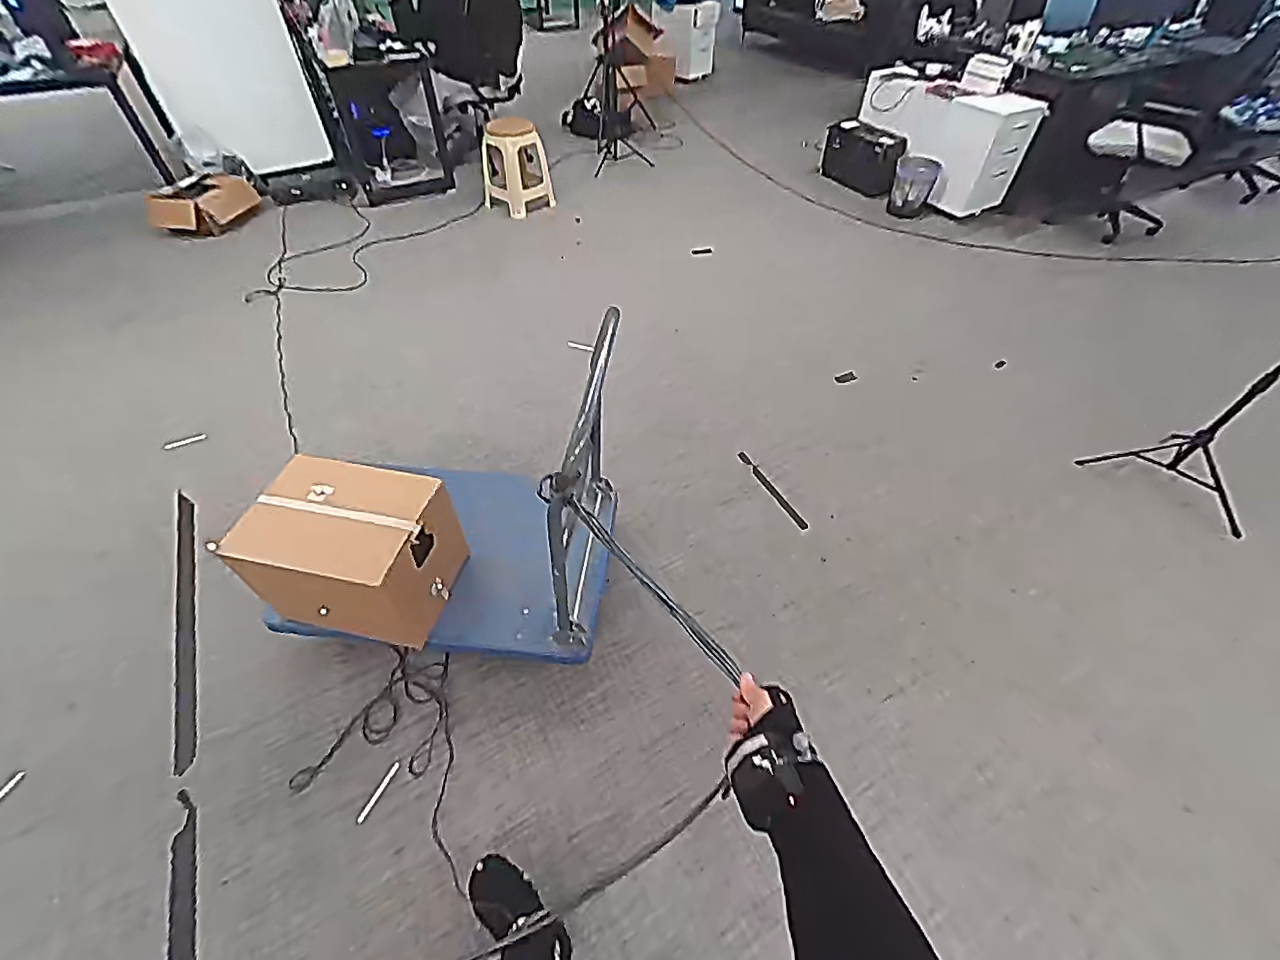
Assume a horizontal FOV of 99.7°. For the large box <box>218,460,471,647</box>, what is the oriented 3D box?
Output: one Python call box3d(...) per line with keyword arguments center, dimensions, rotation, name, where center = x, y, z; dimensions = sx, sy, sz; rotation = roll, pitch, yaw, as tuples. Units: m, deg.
box3d(center=(-0.700, 0.187, 1.365), dimensions=(0.408, 0.320, 0.320), rotation=(9, 48, 8), name="large box")
